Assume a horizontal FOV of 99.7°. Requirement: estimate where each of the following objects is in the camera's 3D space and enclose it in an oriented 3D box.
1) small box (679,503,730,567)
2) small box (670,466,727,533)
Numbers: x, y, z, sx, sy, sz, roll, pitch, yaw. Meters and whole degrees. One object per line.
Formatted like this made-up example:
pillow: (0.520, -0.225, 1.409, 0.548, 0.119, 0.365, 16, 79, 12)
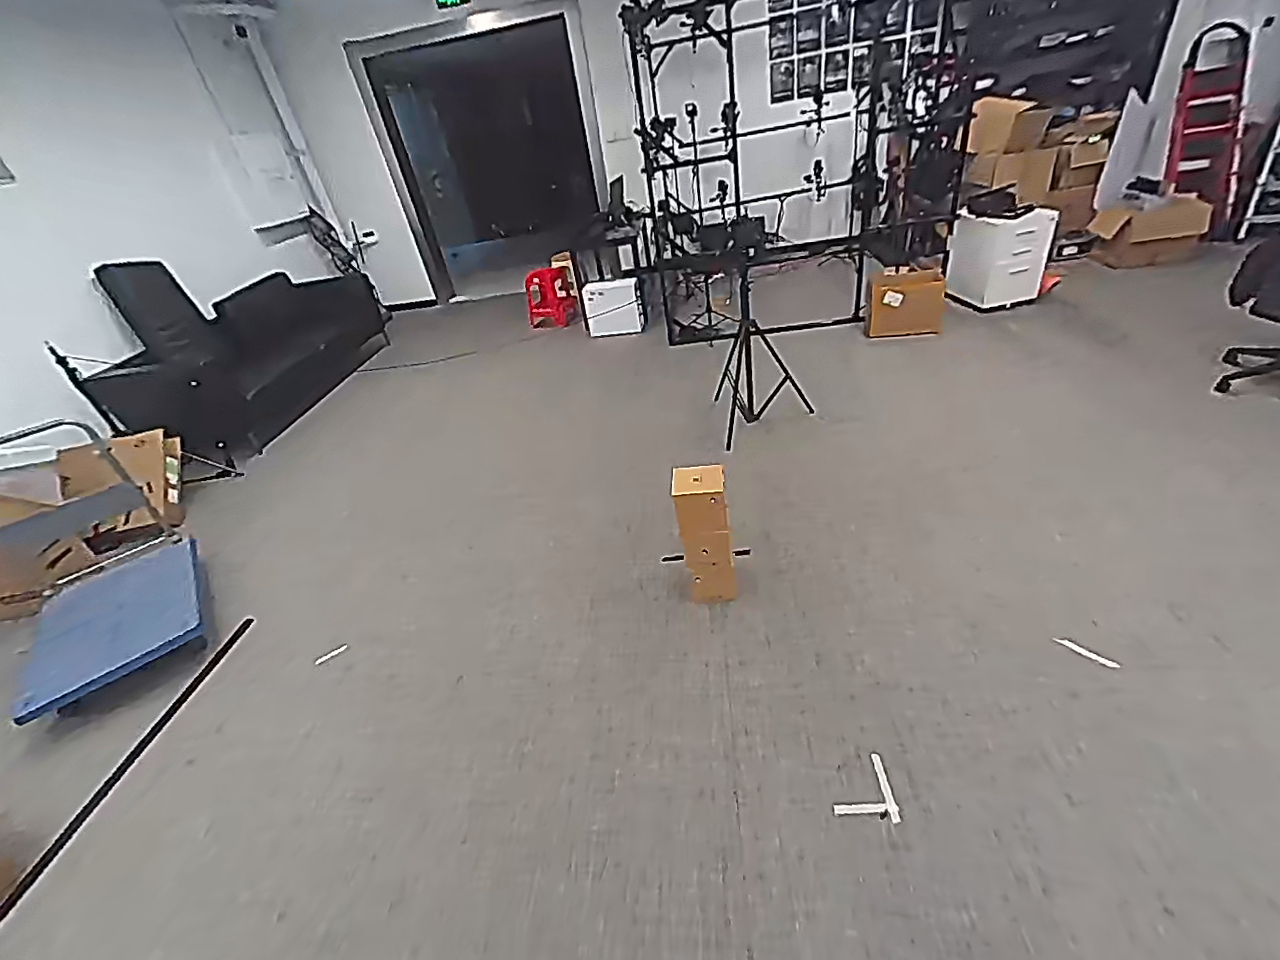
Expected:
small box: (0.241, 0.204, 1.968, 0.168, 0.176, 0.179, -3, 33, 12)
small box: (0.204, 0.070, 1.883, 0.179, 0.176, 0.168, -5, 34, 9)
